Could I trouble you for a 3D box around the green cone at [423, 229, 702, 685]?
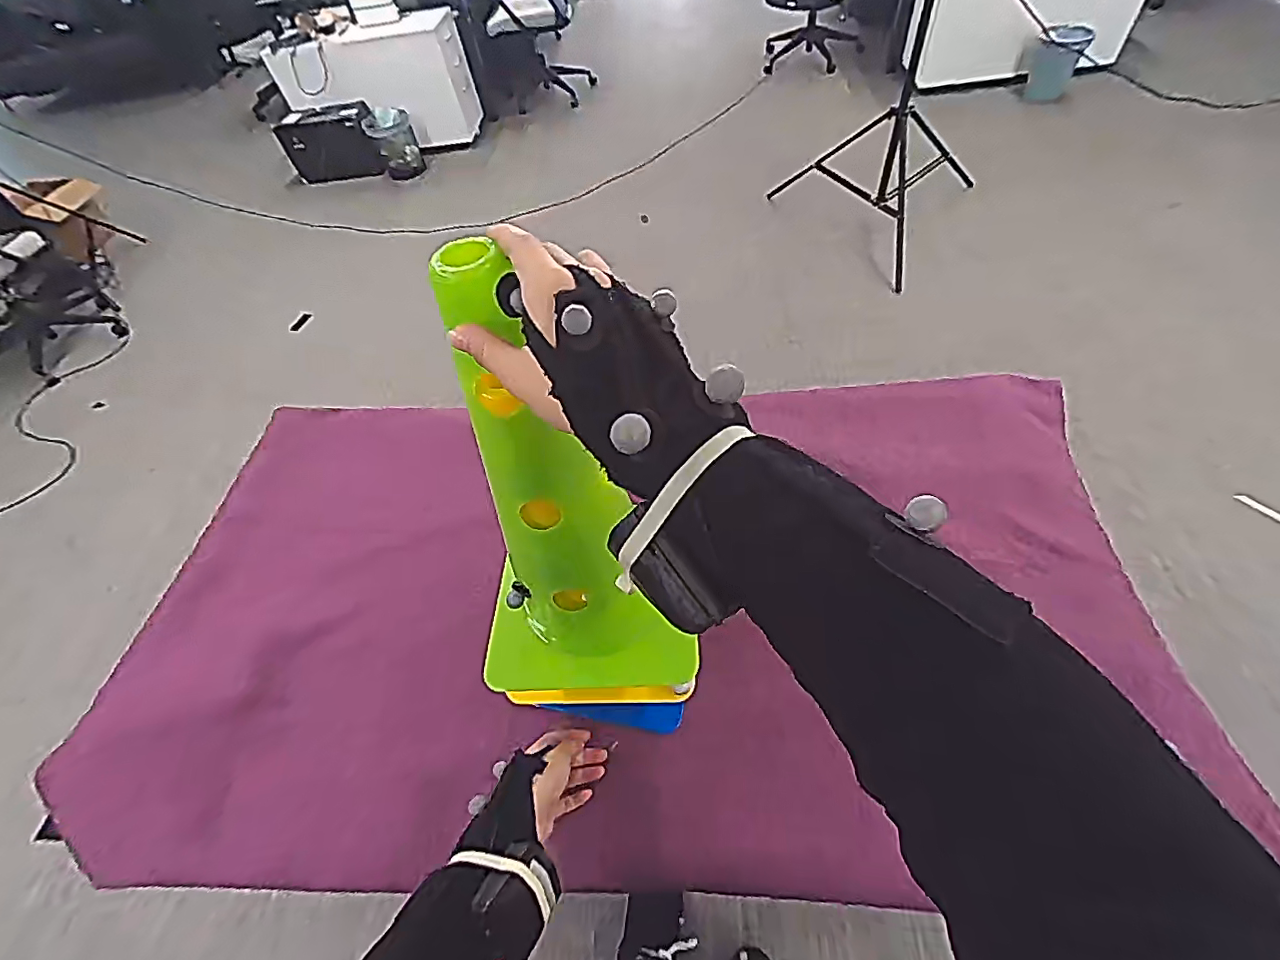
[{"bbox_3d":[-0.068,-0.006,0.408,0.200,0.368,0.202,-5,51,6],"label":"green cone"}]
